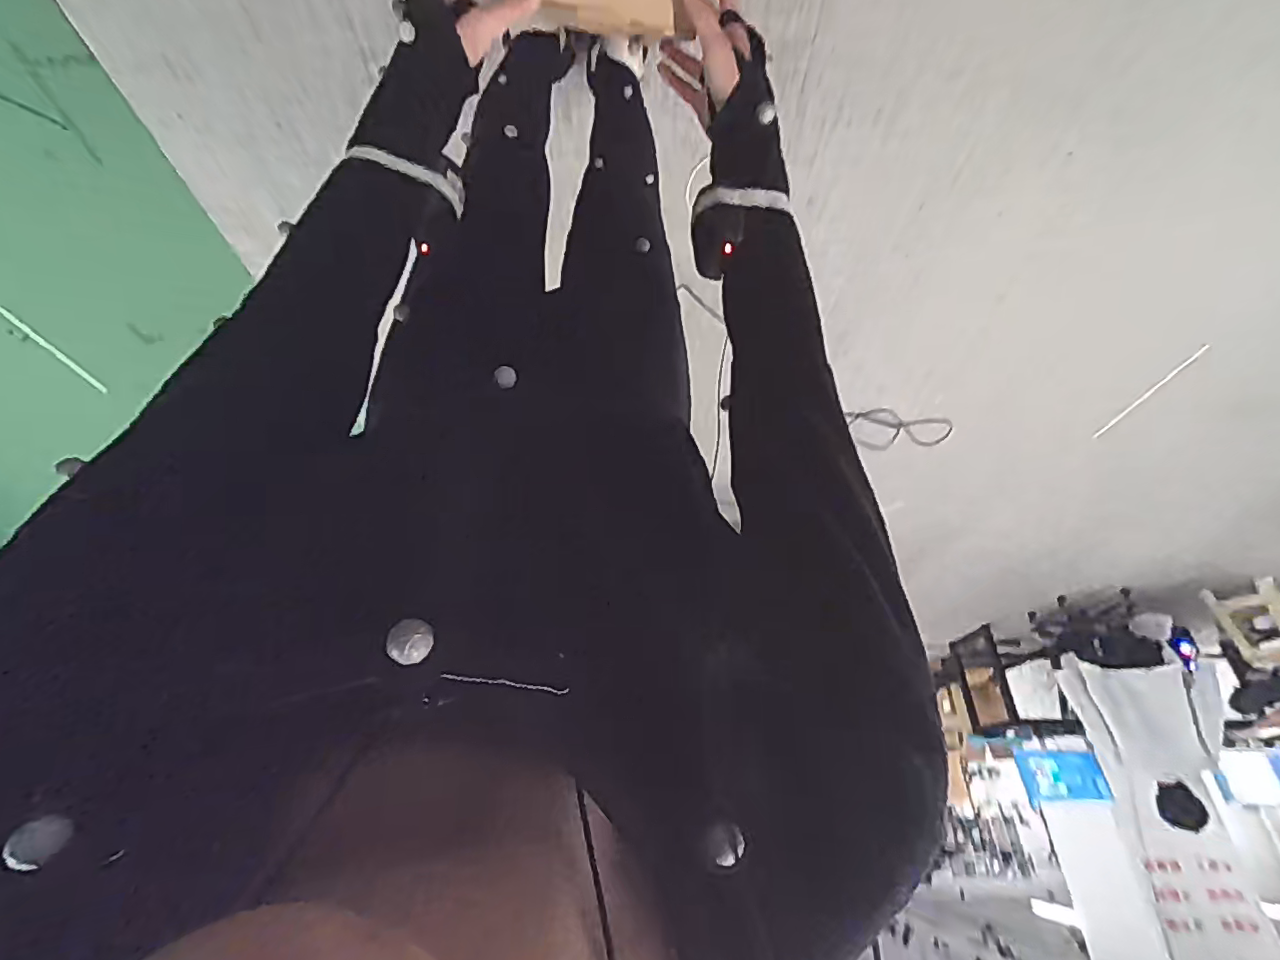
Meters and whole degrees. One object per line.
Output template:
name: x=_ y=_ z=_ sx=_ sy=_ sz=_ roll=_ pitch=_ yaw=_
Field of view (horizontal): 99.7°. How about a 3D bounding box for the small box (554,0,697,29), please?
small box: x=-0.024 y=-0.511 z=0.456 sx=0.168 sy=0.176 sz=0.179 roll=5 pitch=126 yaw=-12
